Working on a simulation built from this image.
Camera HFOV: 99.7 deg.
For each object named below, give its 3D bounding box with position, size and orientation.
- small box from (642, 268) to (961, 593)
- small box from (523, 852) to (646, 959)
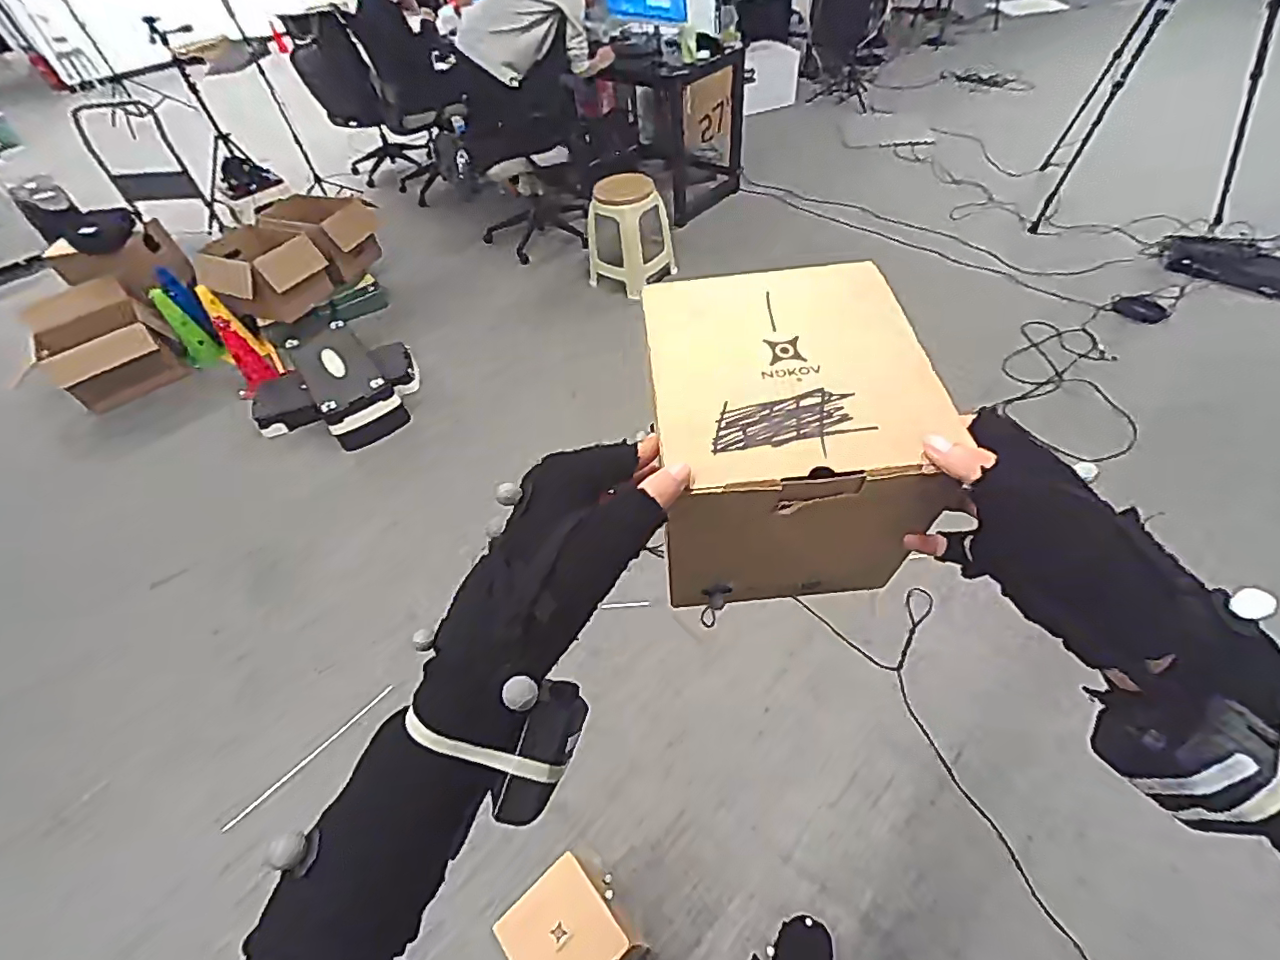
[{"bbox_3d":[0.093,-0.026,0.401,0.168,0.176,0.179,-5,55,1],"label":"small box"},{"bbox_3d":[-0.107,0.900,1.089,0.168,0.176,0.179,-36,55,-20],"label":"small box"}]
